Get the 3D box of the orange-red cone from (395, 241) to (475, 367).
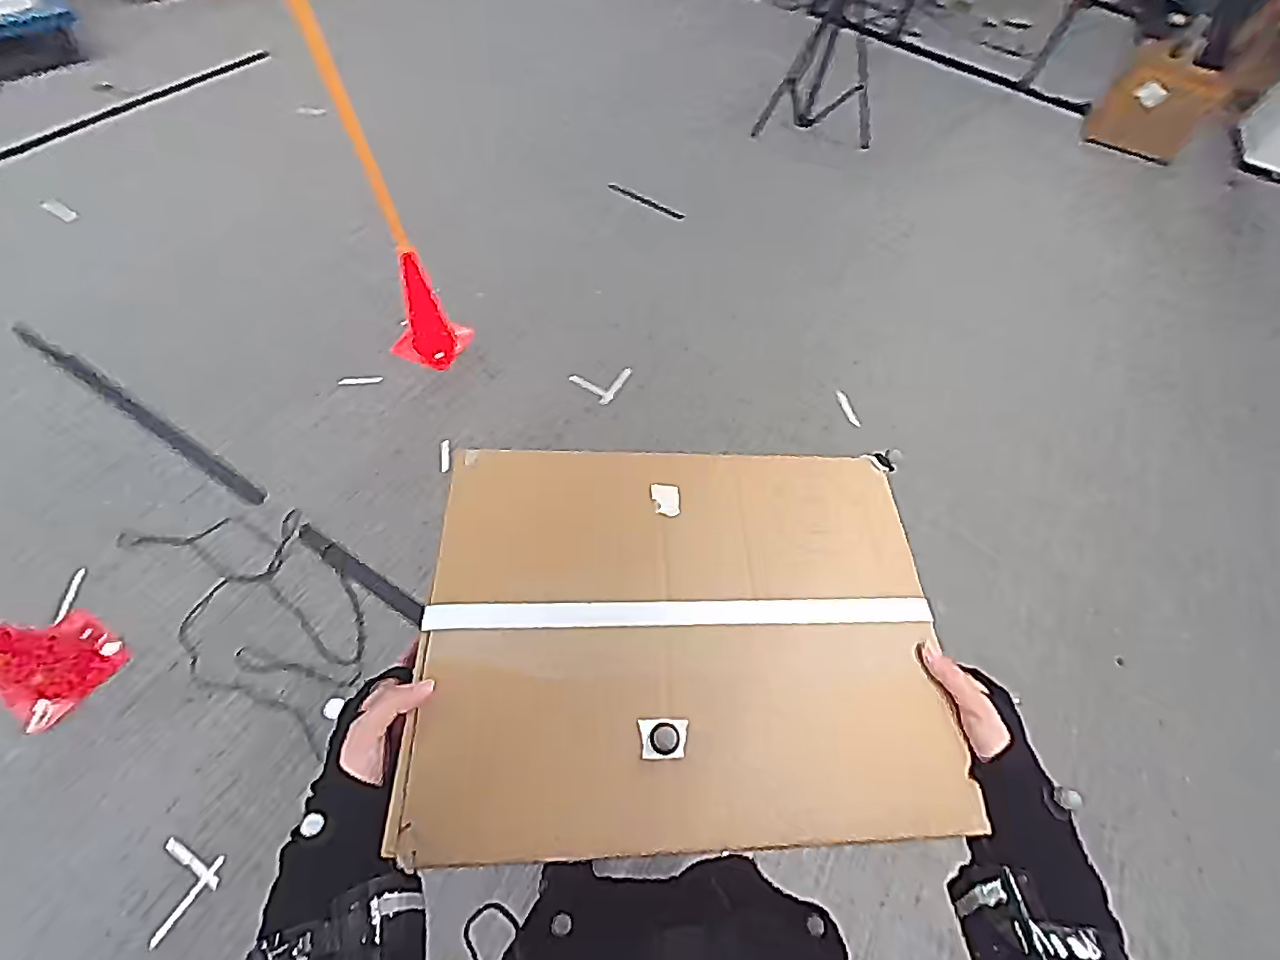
[{"bbox_3d":[-0.650,-0.553,1.627,0.198,0.360,0.199,23,59,6],"label":"orange-red cone"}]
